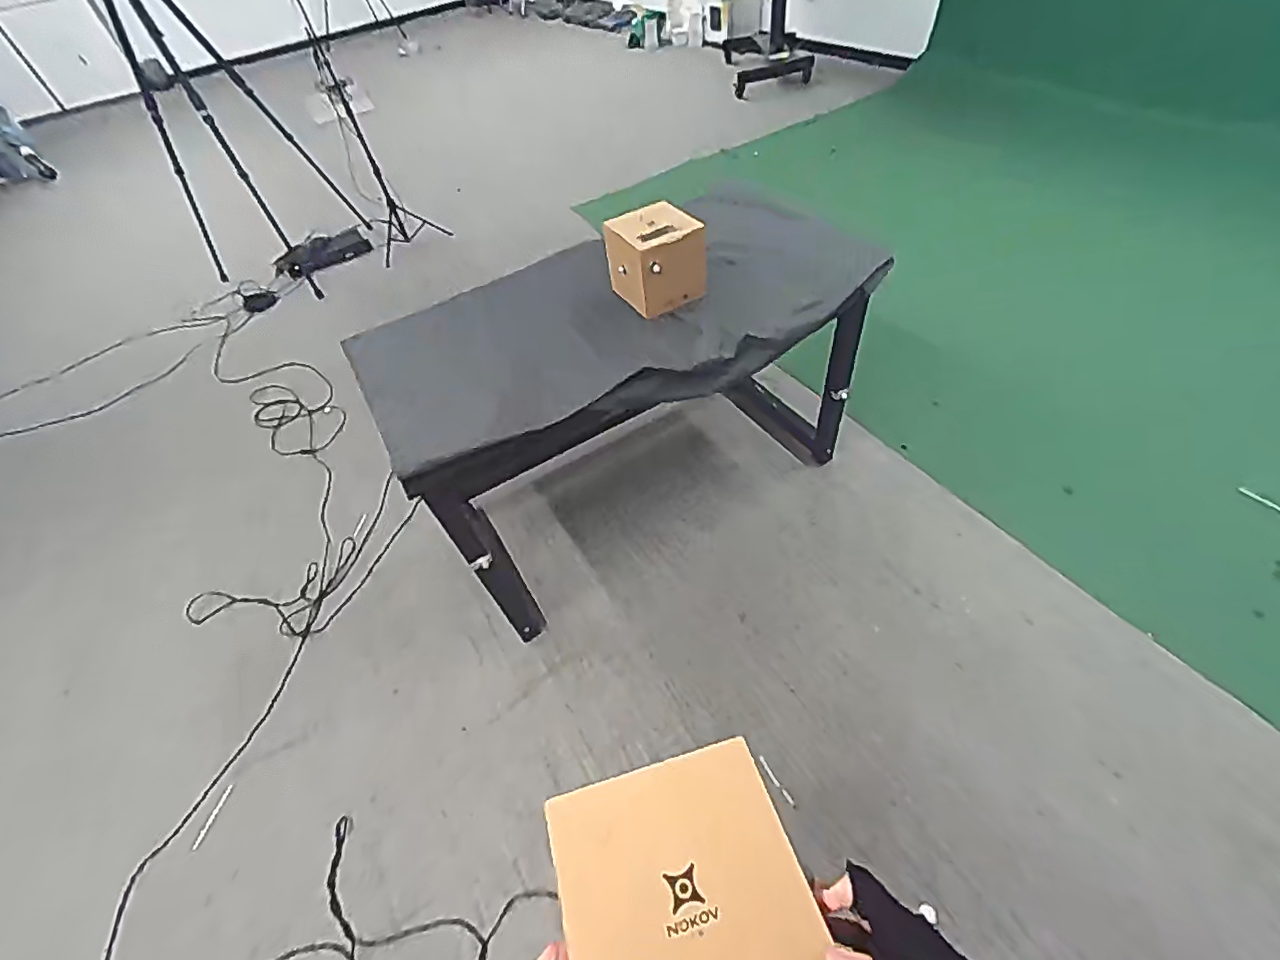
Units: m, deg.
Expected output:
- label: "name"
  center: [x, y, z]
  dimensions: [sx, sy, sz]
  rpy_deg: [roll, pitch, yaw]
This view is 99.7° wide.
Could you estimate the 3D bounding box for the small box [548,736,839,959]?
- label: "small box"
  center: [0.029, 0.337, 0.415]
  dimensions: [0.168, 0.176, 0.179]
  rpy_deg: [-11, 43, -13]
